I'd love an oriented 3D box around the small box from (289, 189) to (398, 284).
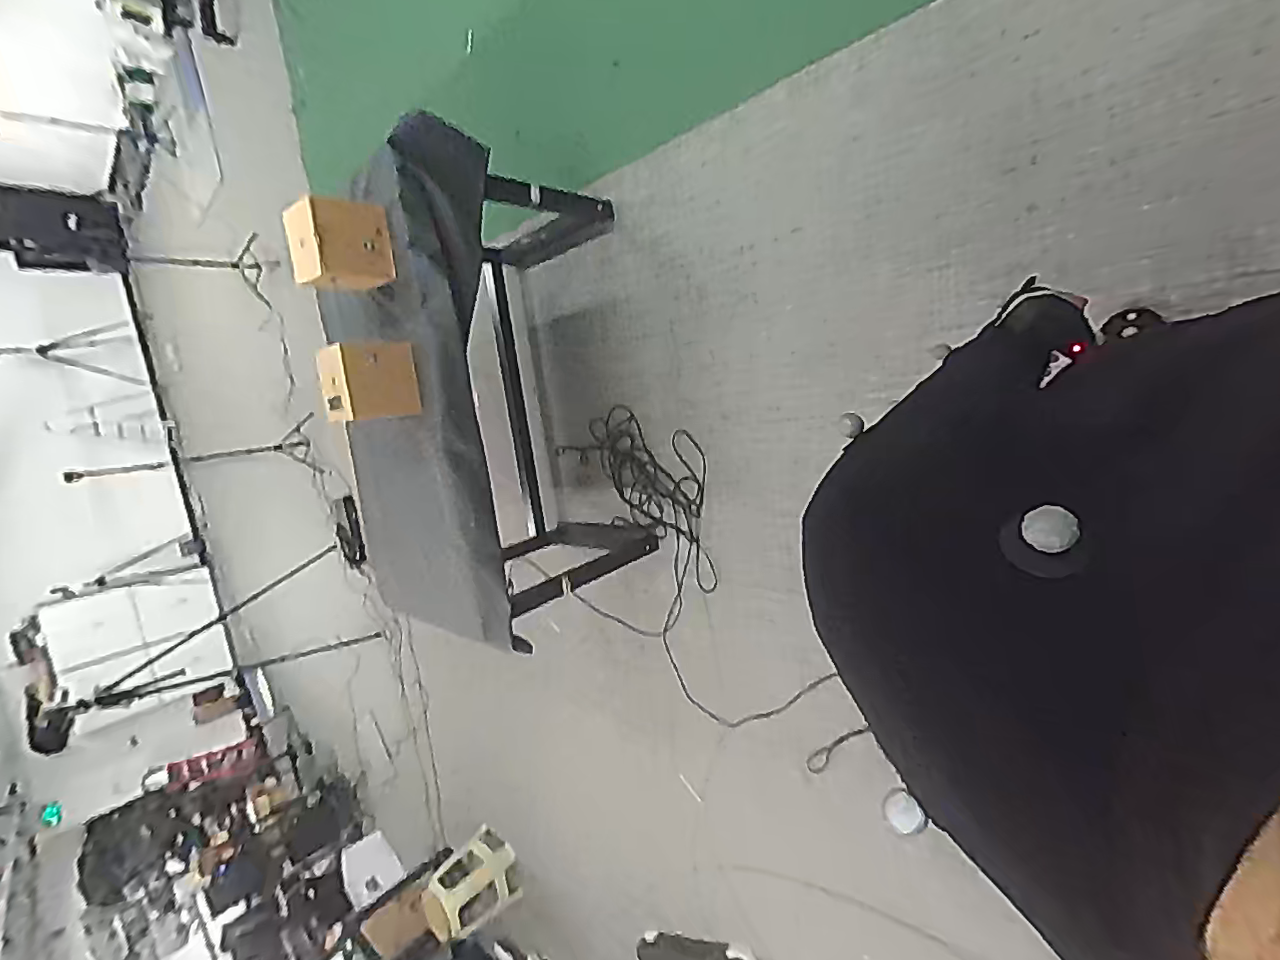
[{"bbox_3d":[-0.701,-0.565,1.283,0.179,0.176,0.168,6,106,41],"label":"small box"}]
